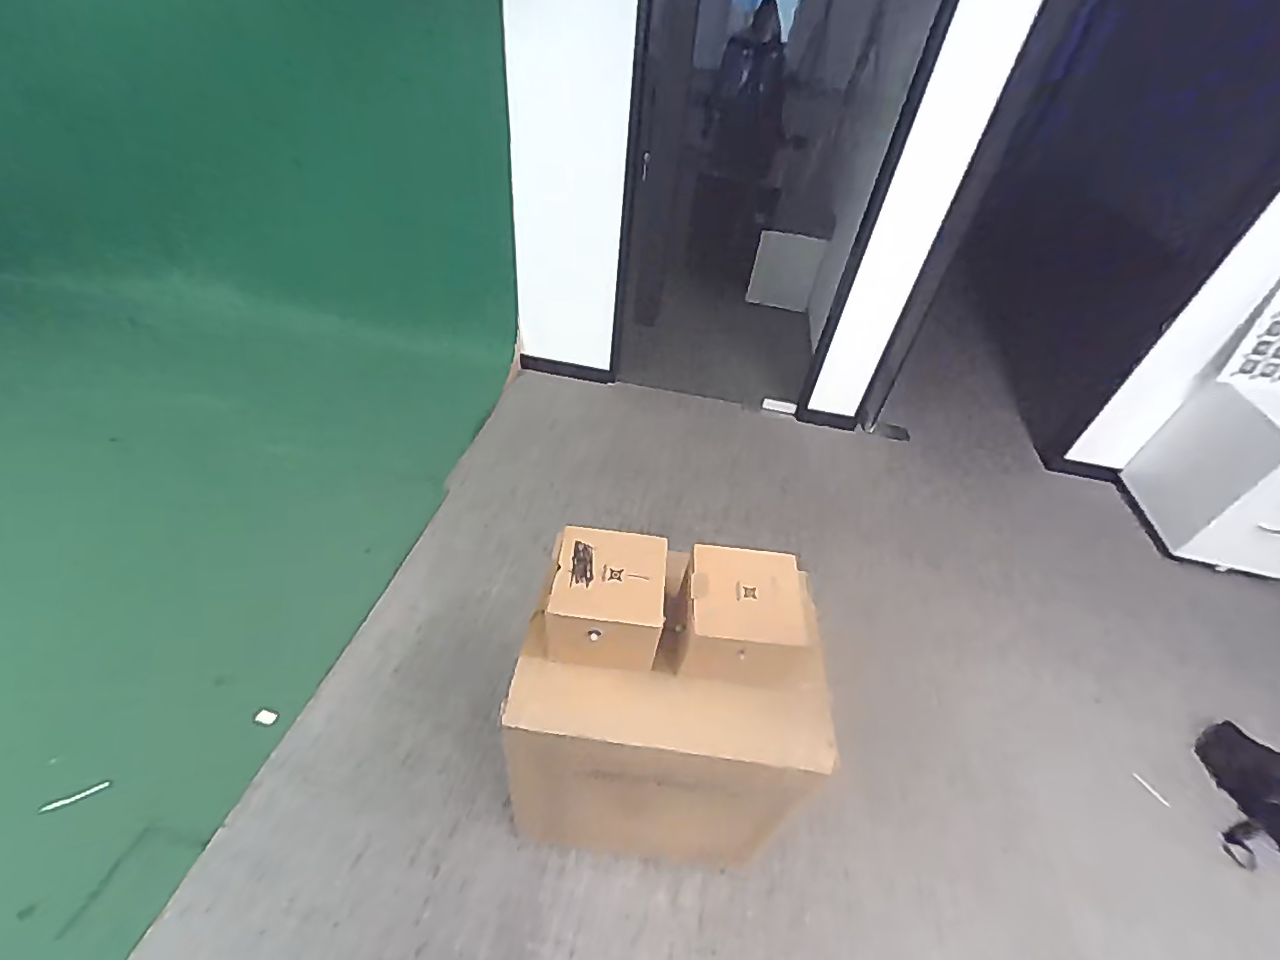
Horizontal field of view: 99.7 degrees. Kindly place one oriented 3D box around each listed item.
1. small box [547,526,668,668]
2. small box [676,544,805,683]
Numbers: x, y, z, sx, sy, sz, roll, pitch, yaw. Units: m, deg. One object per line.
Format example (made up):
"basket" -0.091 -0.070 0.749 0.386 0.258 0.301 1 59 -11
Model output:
"small box" -0.054 0.200 0.911 0.179 0.176 0.168 8 48 -1
"small box" 0.159 0.229 0.915 0.179 0.176 0.168 7 49 -3
